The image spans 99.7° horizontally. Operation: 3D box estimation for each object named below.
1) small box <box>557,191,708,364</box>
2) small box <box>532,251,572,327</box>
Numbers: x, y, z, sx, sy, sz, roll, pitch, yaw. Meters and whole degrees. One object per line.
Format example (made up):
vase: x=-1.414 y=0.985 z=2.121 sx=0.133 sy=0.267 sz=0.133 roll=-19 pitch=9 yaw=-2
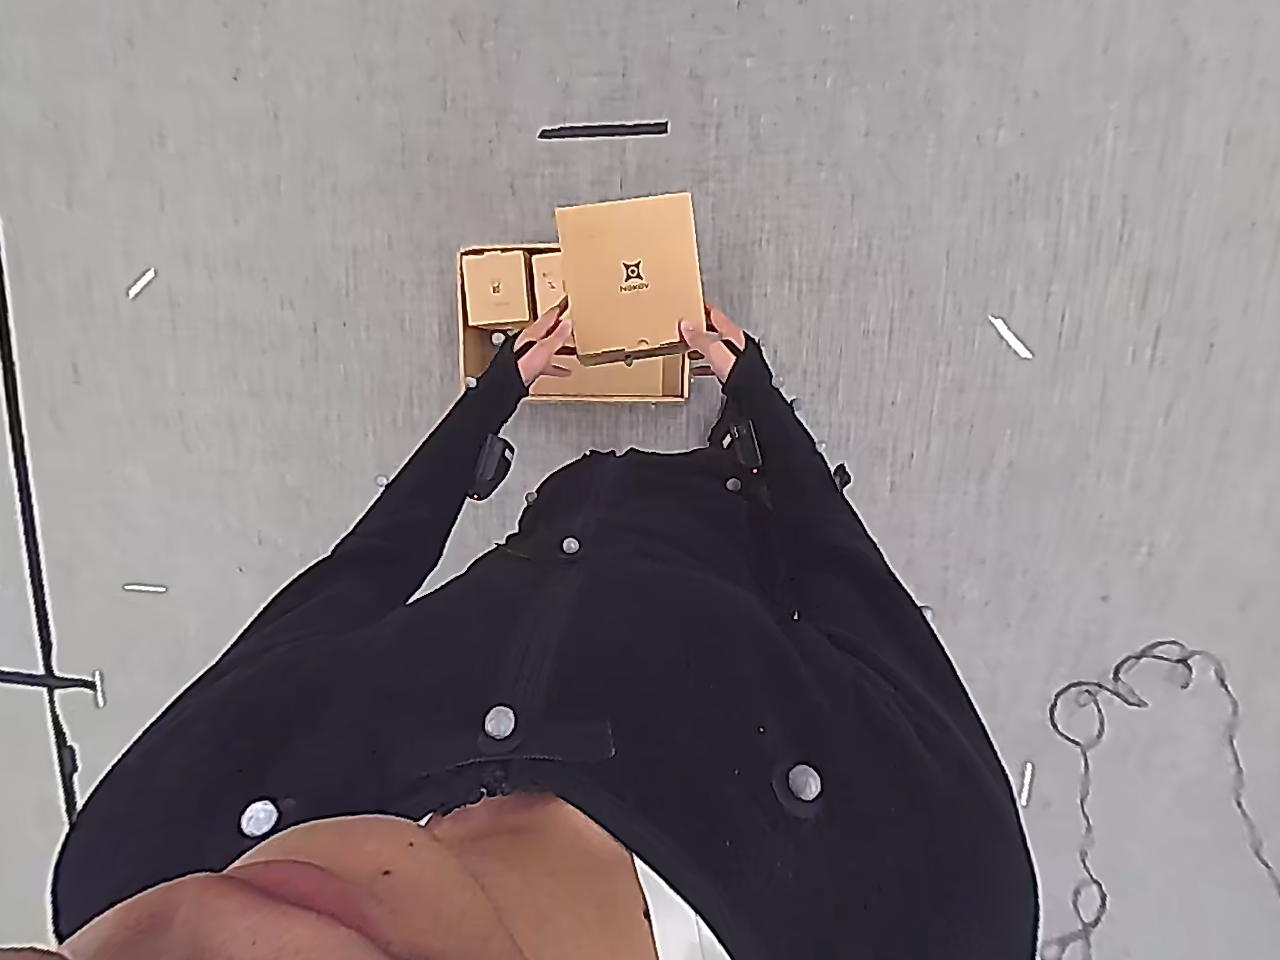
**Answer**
small box: x=-0.014 y=-0.258 z=0.724 sx=0.168 sy=0.176 sz=0.179 roll=-8 pitch=100 yaw=-2
small box: x=-0.172 y=-0.505 z=1.436 sx=0.179 sy=0.176 sz=0.168 roll=-4 pitch=99 yaw=6
